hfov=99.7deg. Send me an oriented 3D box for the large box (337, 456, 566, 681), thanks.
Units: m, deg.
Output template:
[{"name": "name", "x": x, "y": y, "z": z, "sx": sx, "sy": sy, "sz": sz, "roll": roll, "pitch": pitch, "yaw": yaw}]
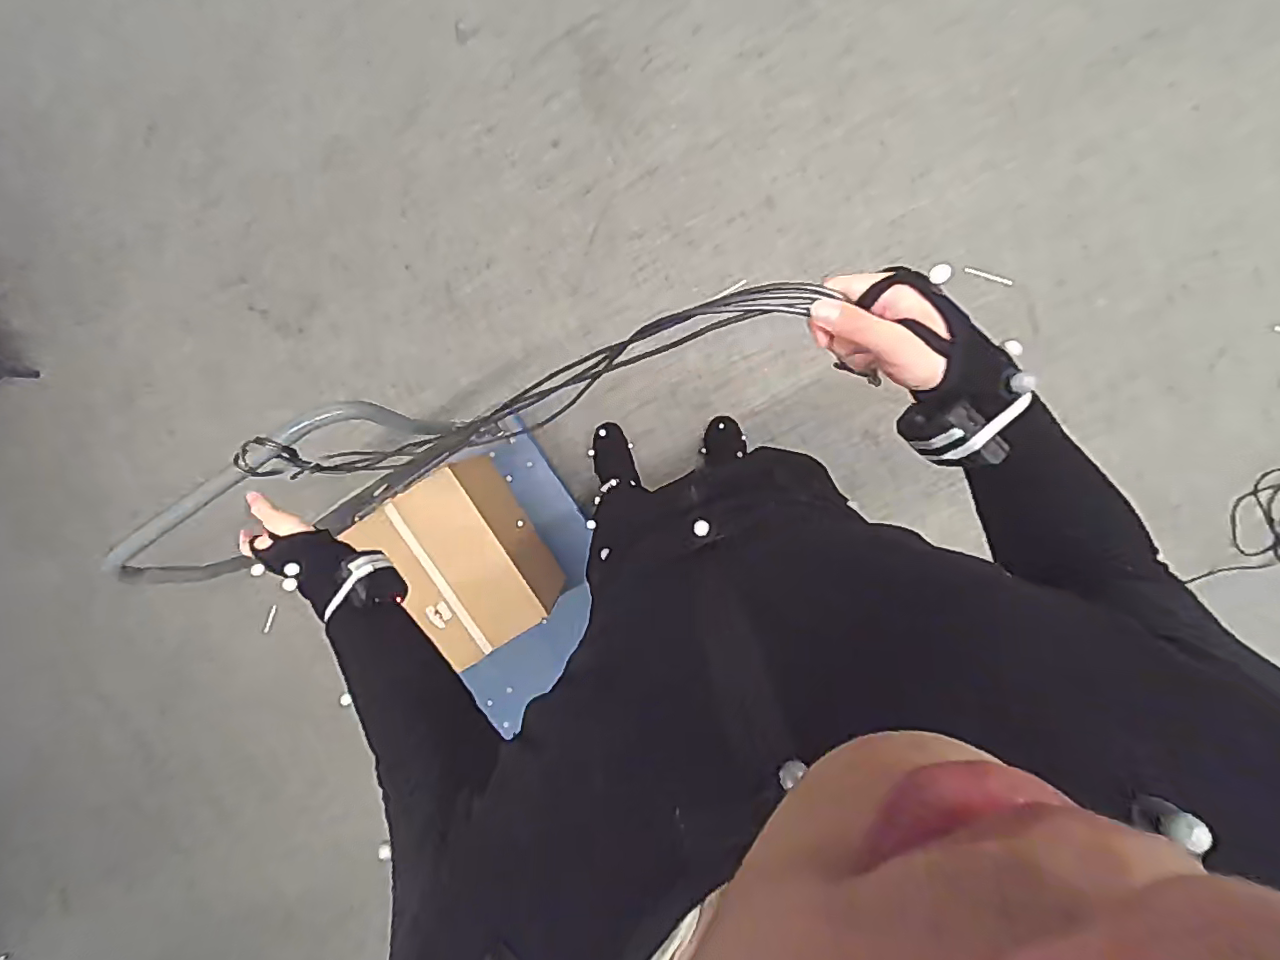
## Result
[{"name": "large box", "x": -0.433, "y": 0.193, "z": 1.339, "sx": 0.320, "sy": 0.320, "sz": 0.408, "roll": -32, "pitch": 96, "yaw": 4}]
